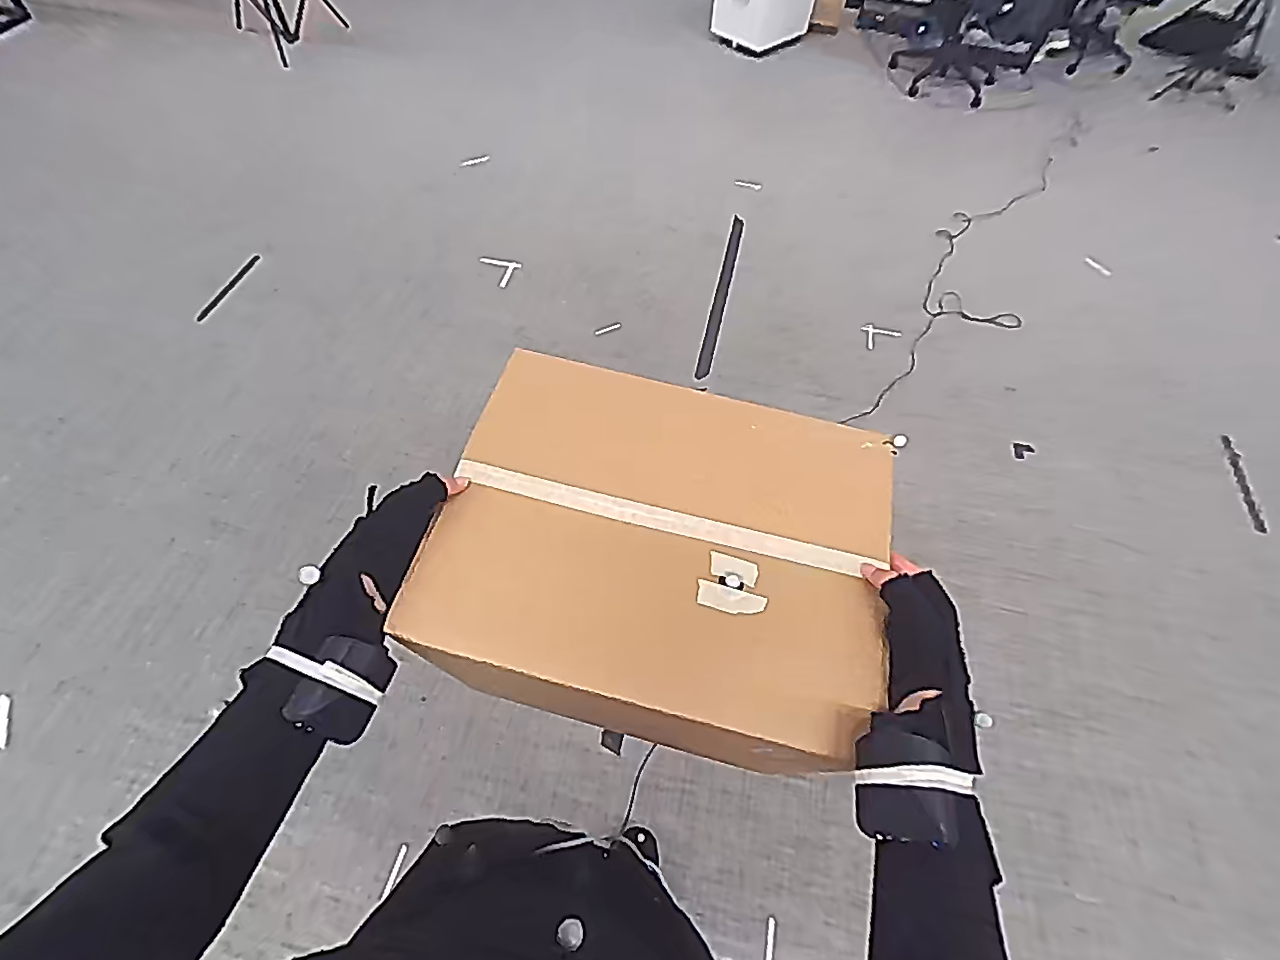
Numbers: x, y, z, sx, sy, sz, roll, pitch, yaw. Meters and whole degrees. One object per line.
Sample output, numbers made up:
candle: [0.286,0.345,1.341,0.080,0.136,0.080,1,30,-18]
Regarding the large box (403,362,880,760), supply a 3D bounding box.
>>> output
large box: [0.015,0.113,0.638,0.408,0.320,0.320,14,62,3]
